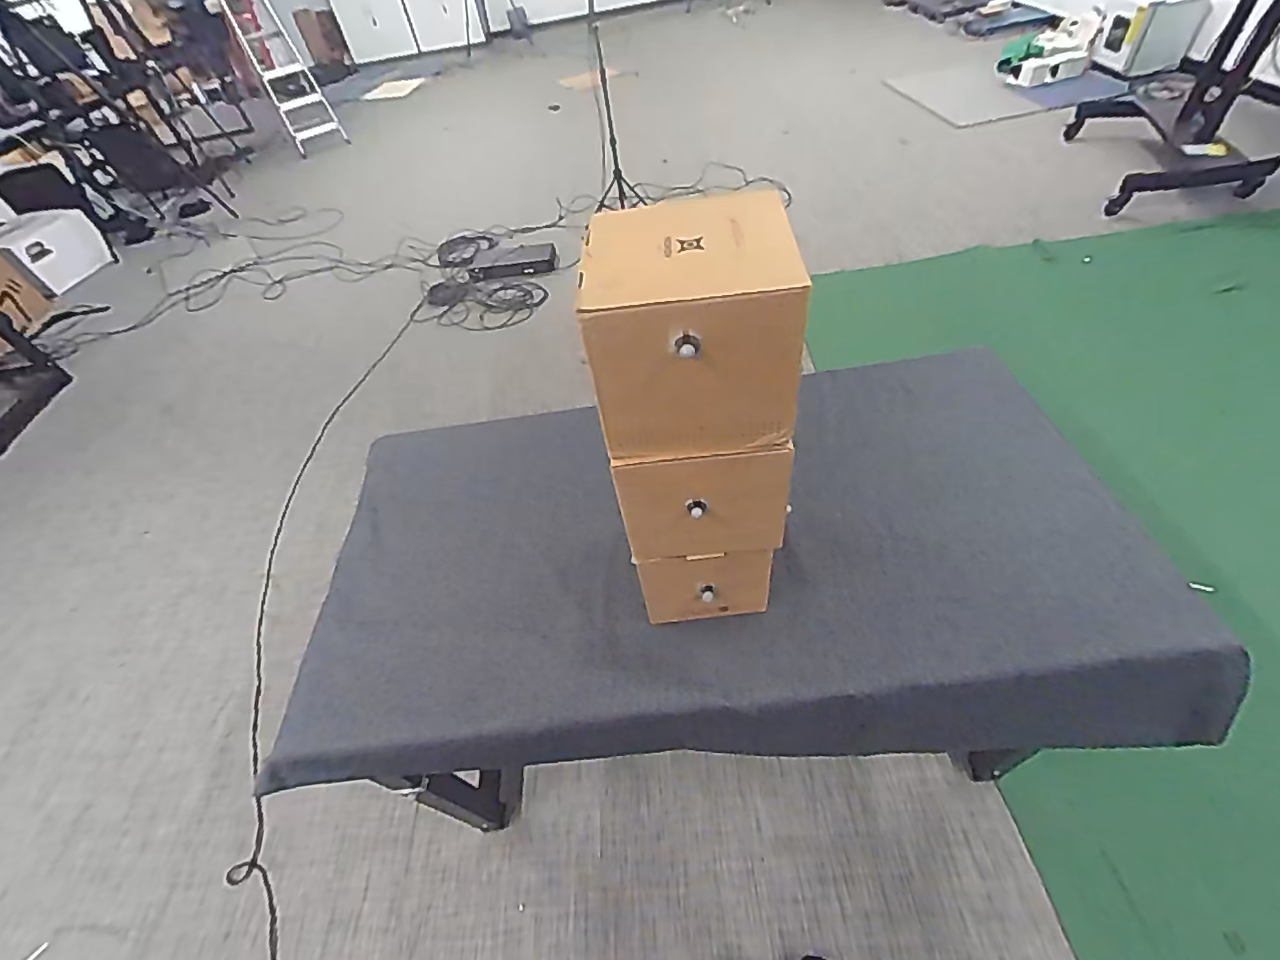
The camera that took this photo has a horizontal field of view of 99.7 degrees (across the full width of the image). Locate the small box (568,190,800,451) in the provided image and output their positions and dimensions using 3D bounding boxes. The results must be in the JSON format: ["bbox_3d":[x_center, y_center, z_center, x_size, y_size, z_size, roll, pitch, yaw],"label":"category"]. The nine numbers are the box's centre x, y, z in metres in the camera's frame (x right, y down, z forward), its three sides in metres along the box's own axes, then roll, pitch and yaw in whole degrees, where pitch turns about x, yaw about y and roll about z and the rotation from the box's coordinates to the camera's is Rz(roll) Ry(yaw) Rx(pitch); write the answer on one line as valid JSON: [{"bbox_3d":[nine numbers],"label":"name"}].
[{"bbox_3d":[0.043,-0.142,0.508,0.179,0.176,0.168,-5,50,6],"label":"small box"}]

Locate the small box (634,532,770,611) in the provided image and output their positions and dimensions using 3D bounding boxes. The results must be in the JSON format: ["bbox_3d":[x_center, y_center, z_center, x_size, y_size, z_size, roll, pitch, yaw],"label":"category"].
[{"bbox_3d":[0.082,0.069,0.754,0.168,0.176,0.179,-9,49,4],"label":"small box"}]

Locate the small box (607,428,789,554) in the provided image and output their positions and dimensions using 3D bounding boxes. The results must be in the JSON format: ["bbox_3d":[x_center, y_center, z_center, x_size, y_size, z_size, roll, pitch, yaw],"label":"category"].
[{"bbox_3d":[0.065,-0.031,0.625,0.179,0.176,0.168,-7,49,6],"label":"small box"}]
